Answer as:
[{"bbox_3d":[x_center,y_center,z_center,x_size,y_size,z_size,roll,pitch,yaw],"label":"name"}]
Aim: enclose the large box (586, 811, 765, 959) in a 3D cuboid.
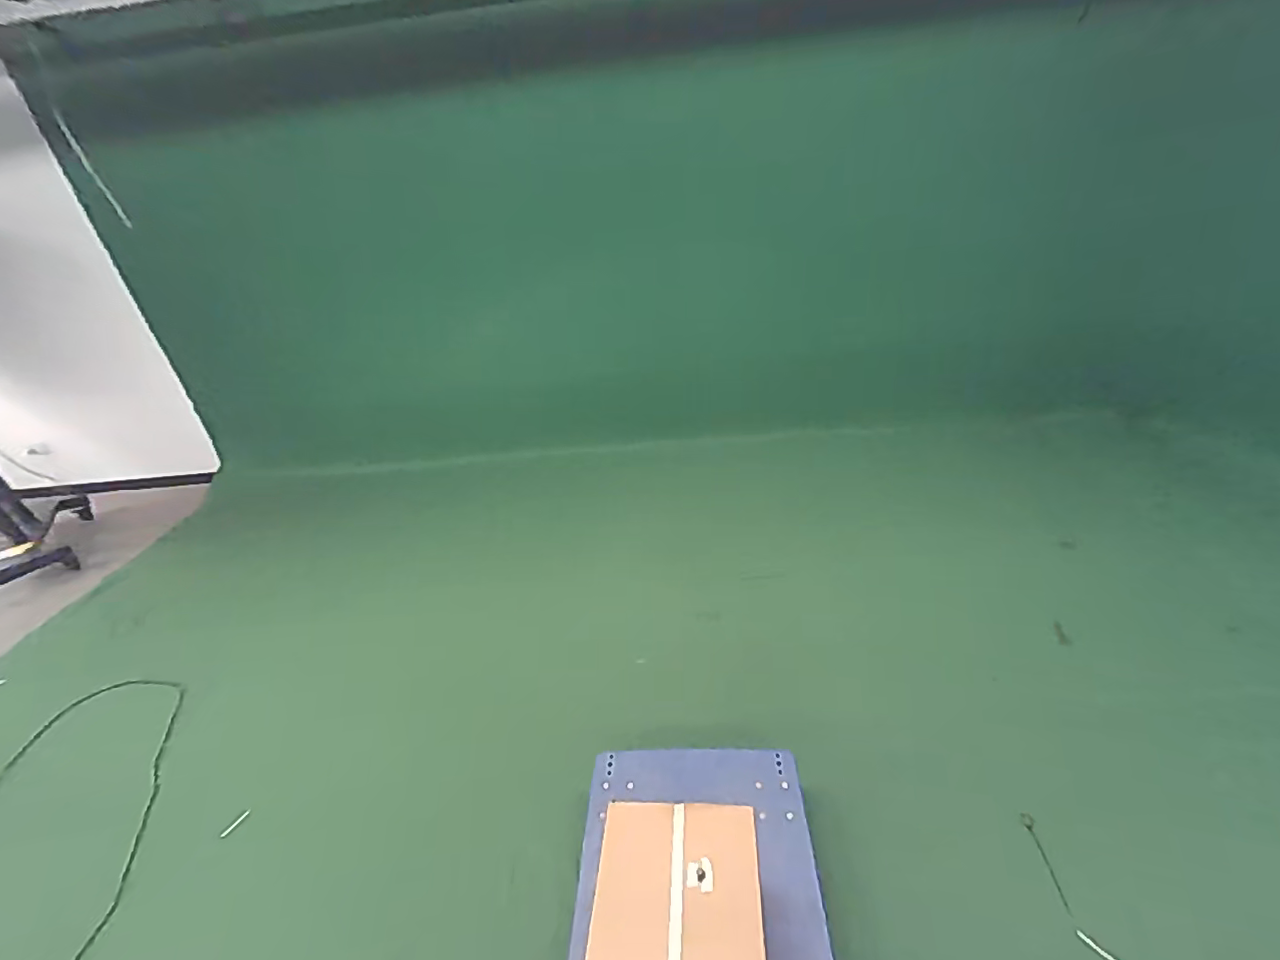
[{"bbox_3d":[0.080,0.938,1.051,0.320,0.320,0.408,-2,29,8],"label":"large box"}]
